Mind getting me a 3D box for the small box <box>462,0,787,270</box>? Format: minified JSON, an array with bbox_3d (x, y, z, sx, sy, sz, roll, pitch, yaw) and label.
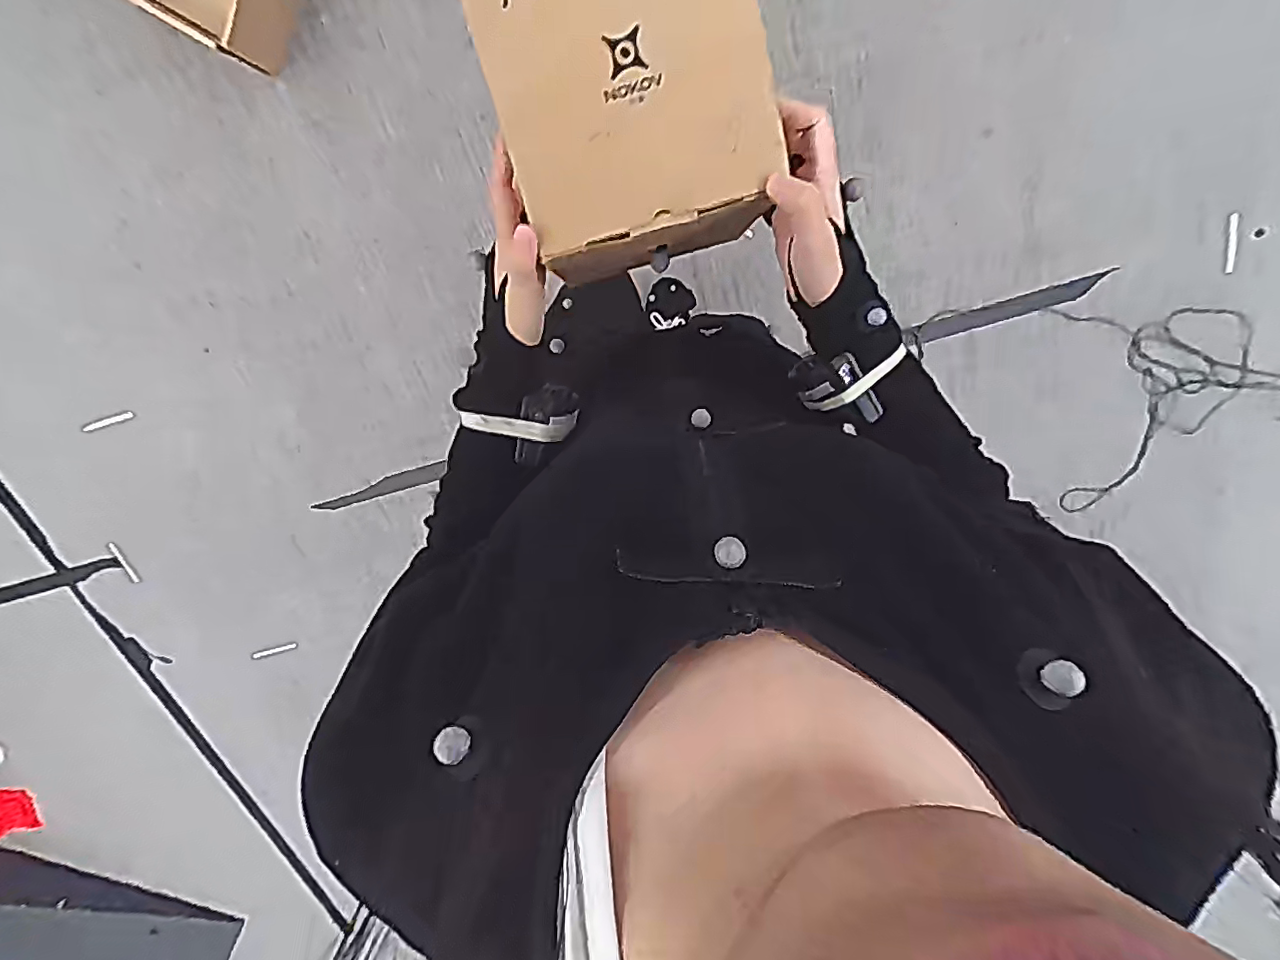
[{"bbox_3d":[-0.009,-0.264,0.395,0.168,0.176,0.179,-16,105,2],"label":"small box"}]
